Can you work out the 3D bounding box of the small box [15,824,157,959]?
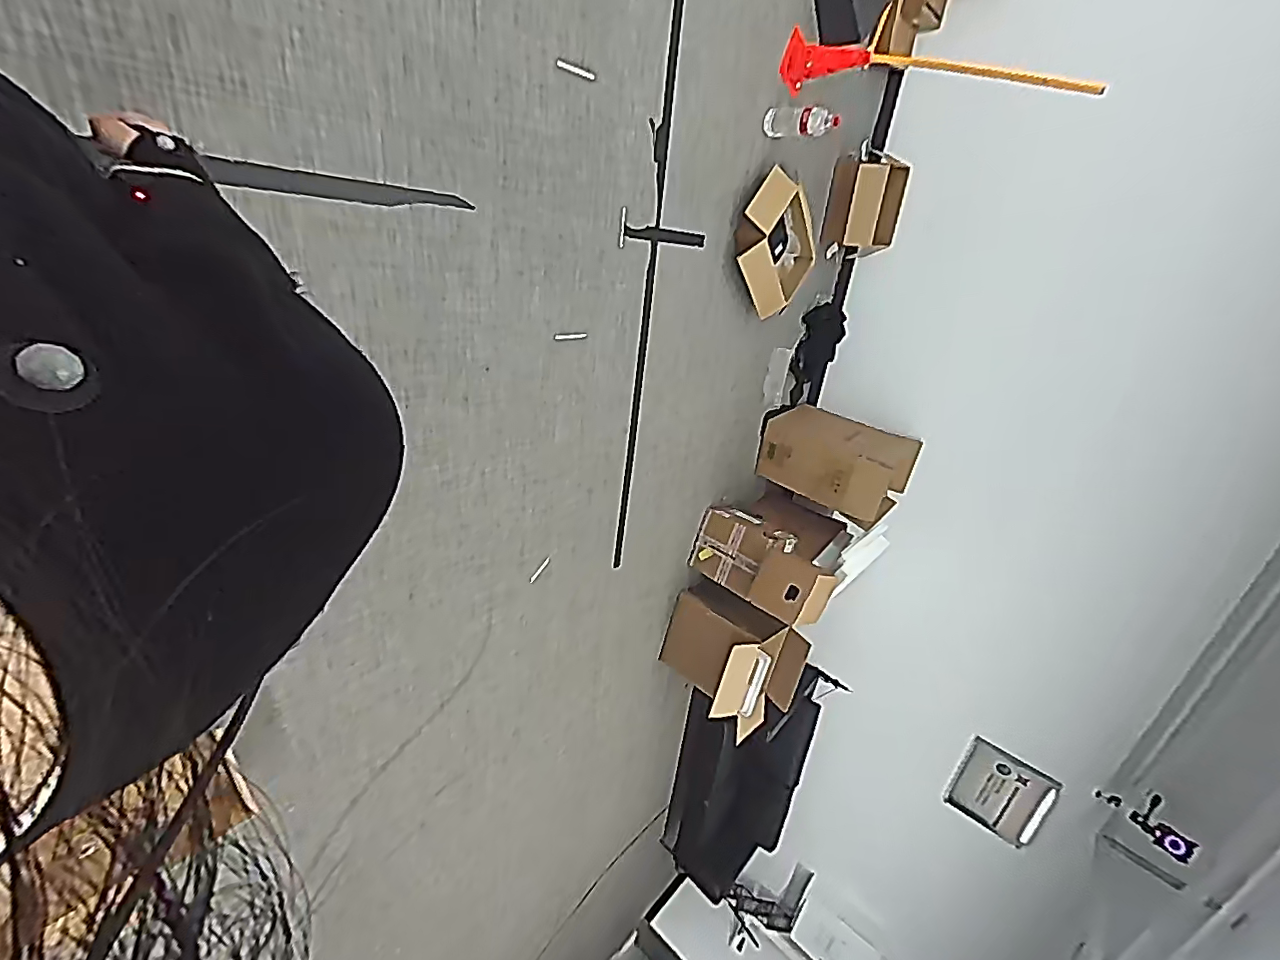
[{"bbox_3d":[-1.197,0.901,1.173,0.168,0.176,0.179,-26,131,-43],"label":"small box"}]
